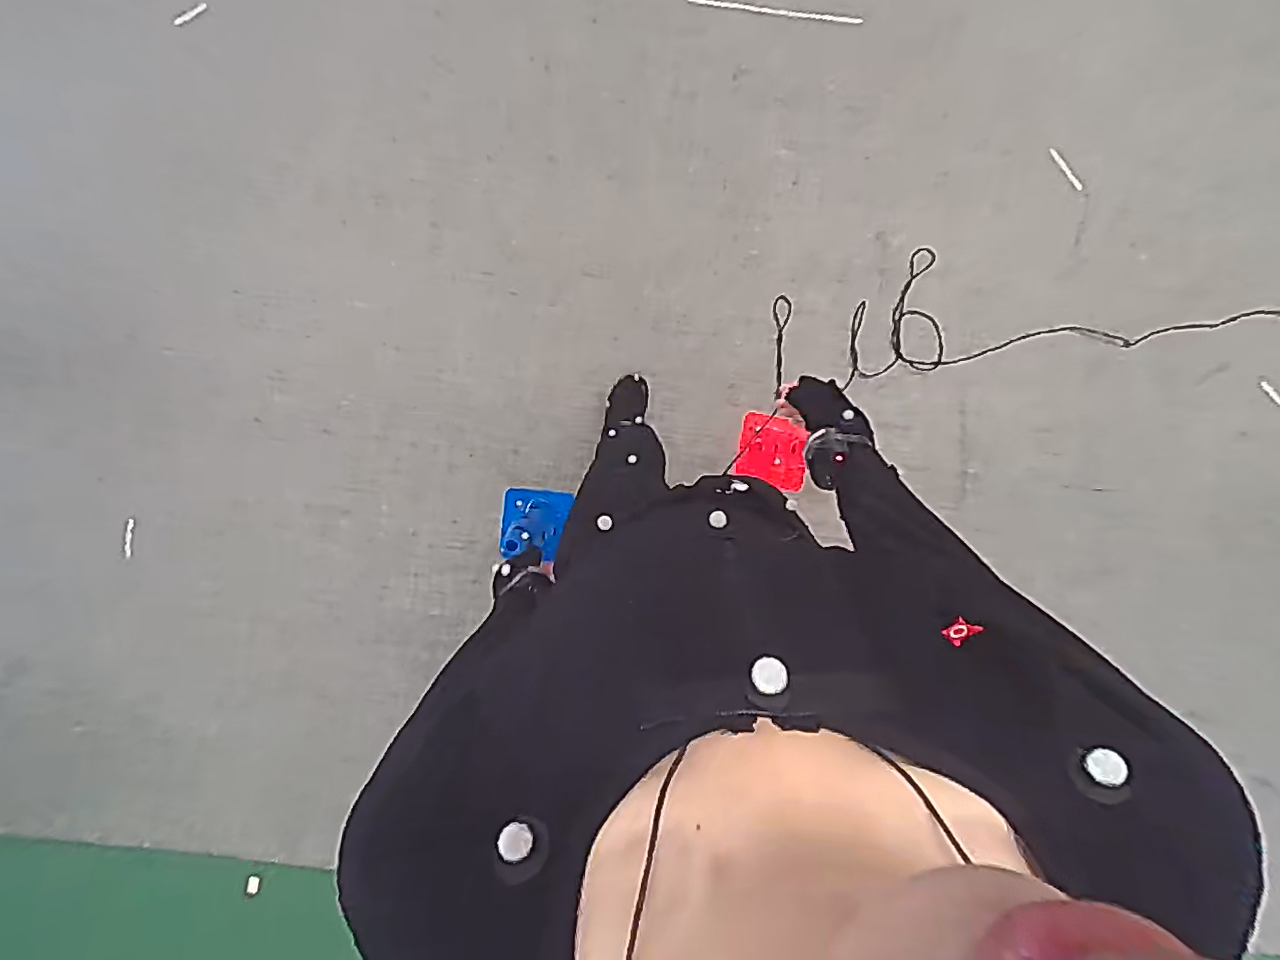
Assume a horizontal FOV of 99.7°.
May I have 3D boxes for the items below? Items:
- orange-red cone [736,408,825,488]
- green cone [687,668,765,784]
[{"bbox_3d":[0.378,-0.078,1.330,0.198,0.360,0.199,12,94,-1],"label":"orange-red cone"},{"bbox_3d":[0.248,0.643,1.353,0.200,0.368,0.202,9,91,-2],"label":"green cone"}]
